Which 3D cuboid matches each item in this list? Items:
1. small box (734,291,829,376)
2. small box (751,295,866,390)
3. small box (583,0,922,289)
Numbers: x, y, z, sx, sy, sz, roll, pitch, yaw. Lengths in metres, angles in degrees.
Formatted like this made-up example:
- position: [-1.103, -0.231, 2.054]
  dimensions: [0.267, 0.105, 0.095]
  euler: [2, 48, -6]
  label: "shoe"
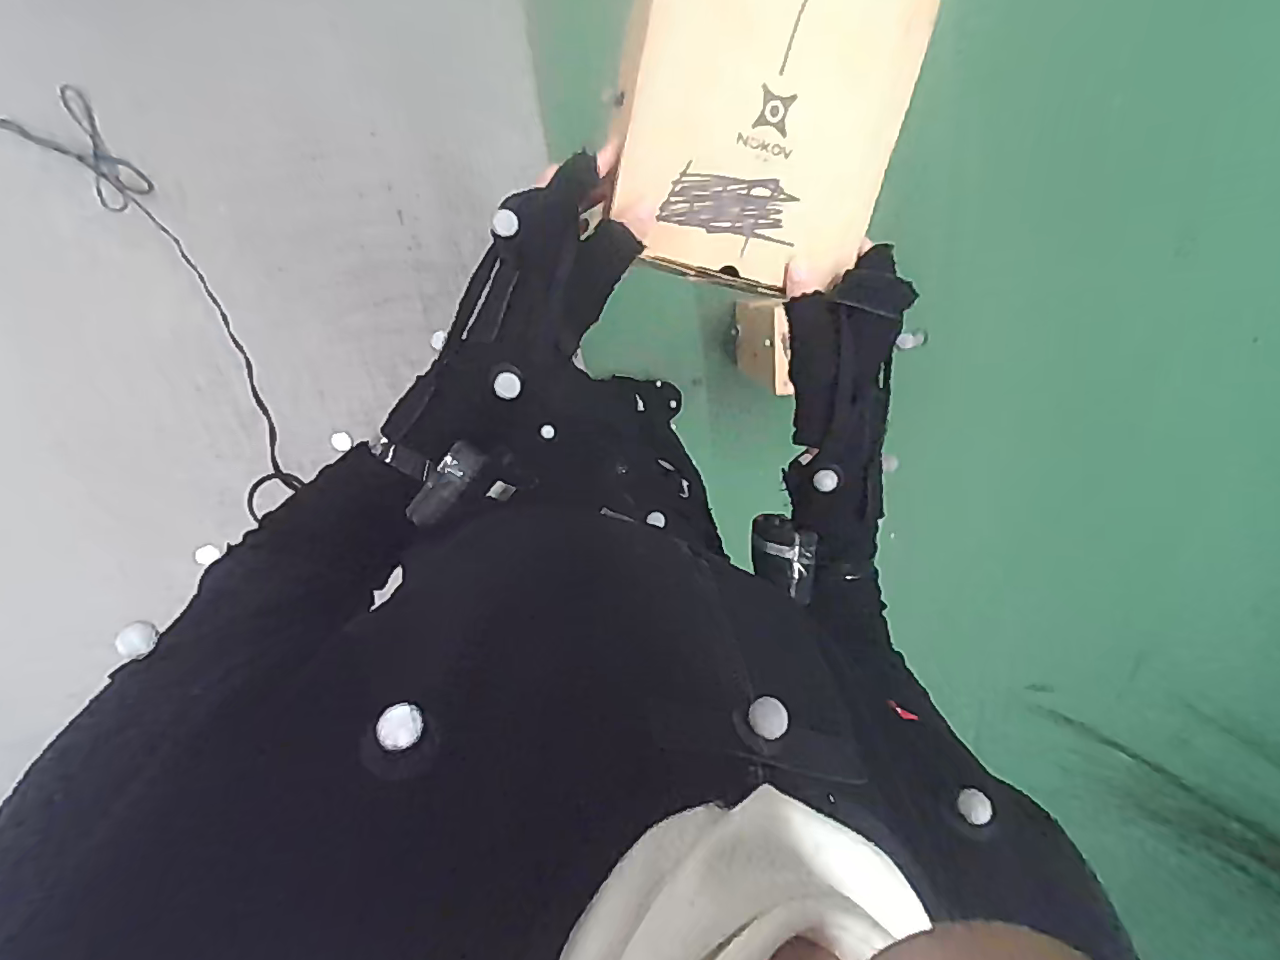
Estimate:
- position: [0.323, -0.345, 1.258]
  dimensions: [0.179, 0.176, 0.168]
  euler: [-6, 110, 1]
  label: "small box"
- position: [0.335, -0.286, 1.106]
  dimensions: [0.179, 0.176, 0.168]
  euler: [-6, 110, -2]
  label: "small box"
- position: [0.054, -0.249, 0.391]
  dimensions: [0.168, 0.176, 0.179]
  euler: [9, 109, -13]
  label: "small box"
